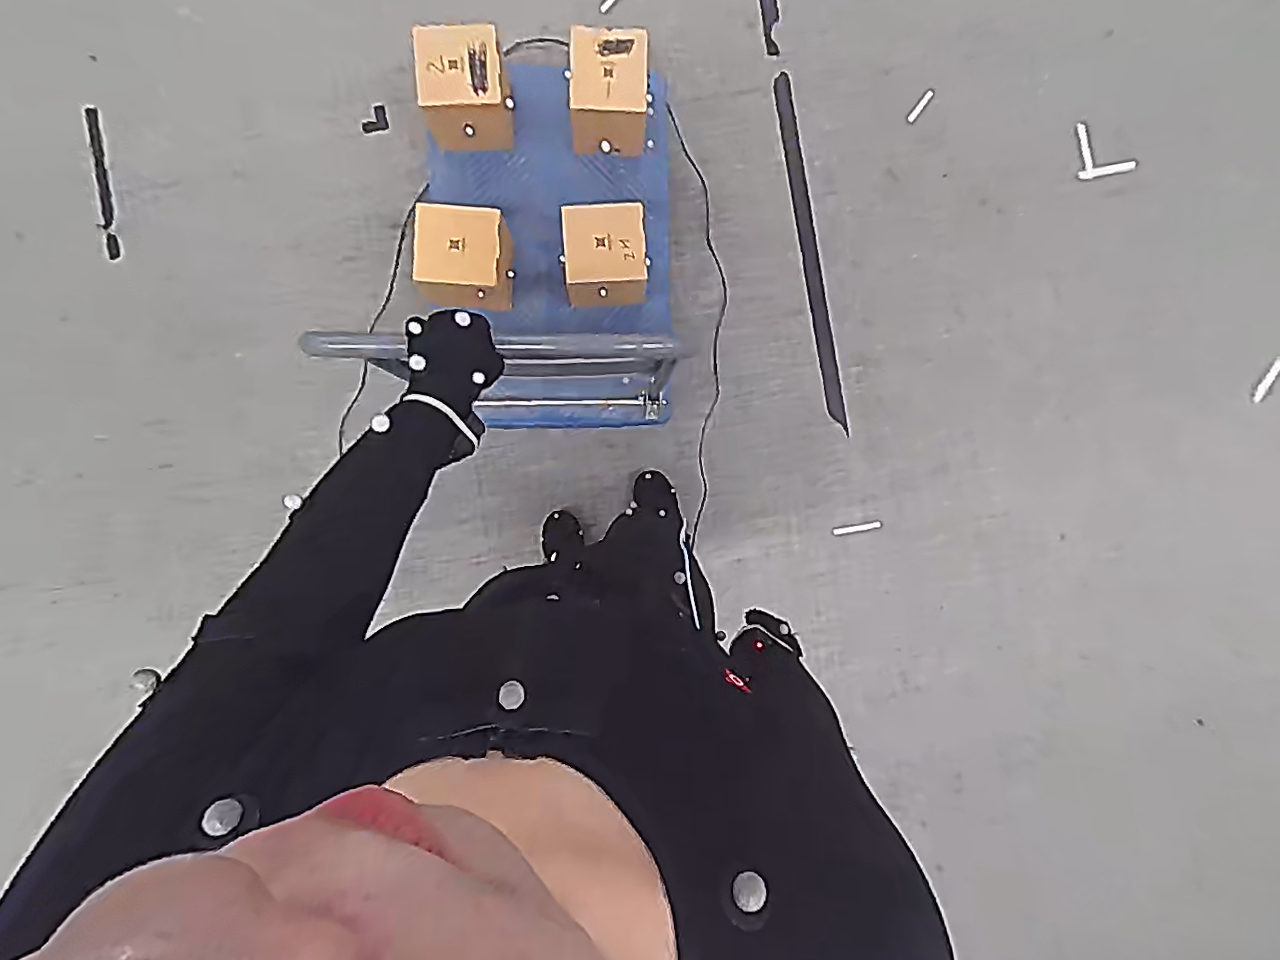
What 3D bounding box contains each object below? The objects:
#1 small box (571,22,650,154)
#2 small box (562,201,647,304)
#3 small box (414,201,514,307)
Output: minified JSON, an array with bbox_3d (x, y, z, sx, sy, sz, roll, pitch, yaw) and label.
[{"bbox_3d":[-0.069,-0.876,1.222,0.168,0.176,0.179,1,92,-3],"label":"small box"},{"bbox_3d":[-0.077,-0.507,1.226,0.179,0.176,0.168,-4,91,-3],"label":"small box"},{"bbox_3d":[-0.387,-0.496,1.211,0.179,0.176,0.168,2,90,-5],"label":"small box"}]
